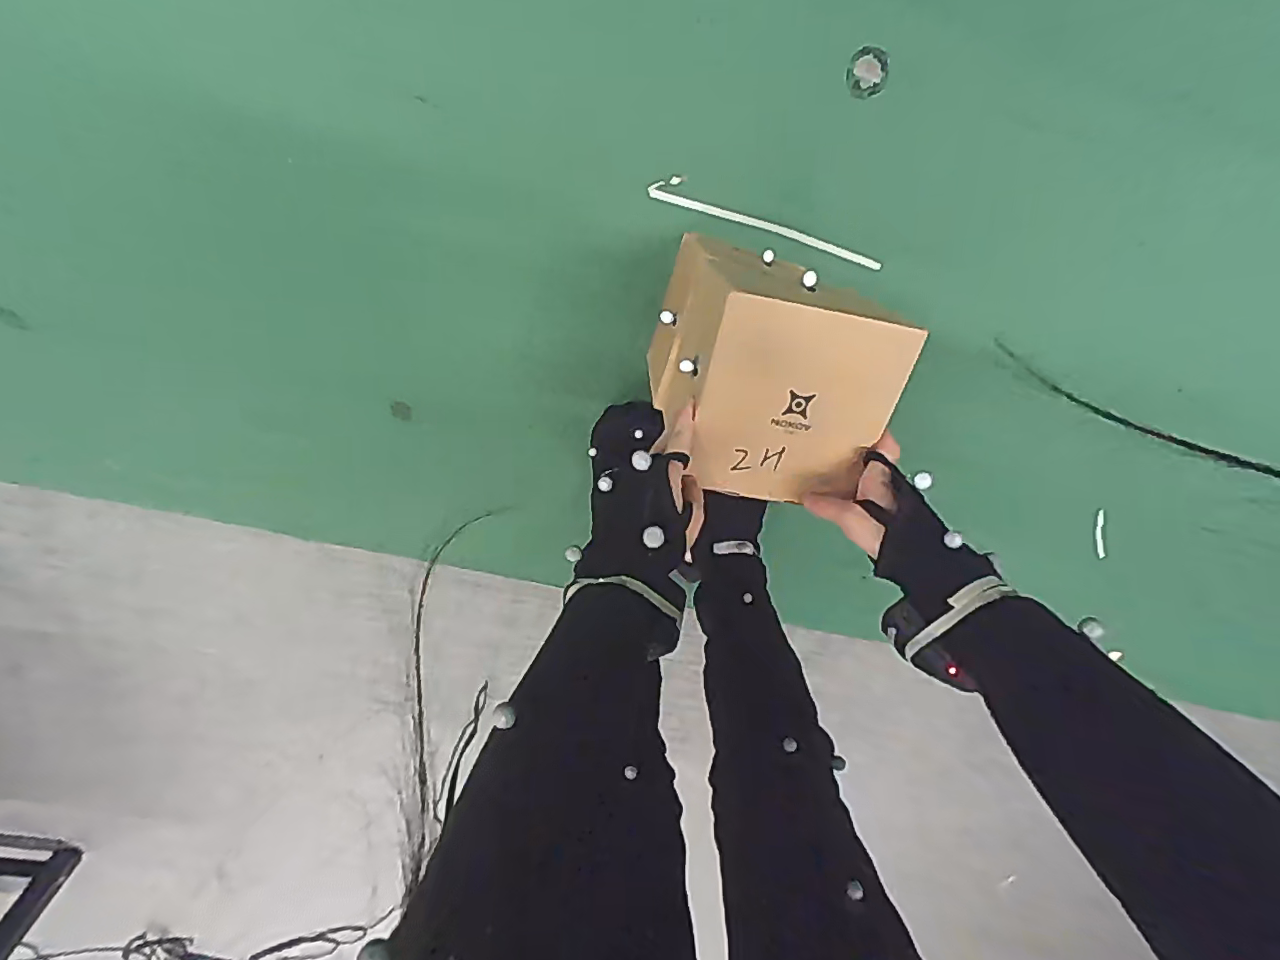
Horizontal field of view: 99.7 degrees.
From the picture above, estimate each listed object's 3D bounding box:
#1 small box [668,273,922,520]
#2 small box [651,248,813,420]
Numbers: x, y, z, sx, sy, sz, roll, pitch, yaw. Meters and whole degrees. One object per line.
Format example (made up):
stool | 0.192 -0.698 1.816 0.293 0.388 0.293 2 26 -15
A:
small box | 0.126 -0.089 0.527 0.168 0.176 0.179 10 119 -7
small box | 0.115 -0.168 0.673 0.168 0.176 0.179 14 119 -9
